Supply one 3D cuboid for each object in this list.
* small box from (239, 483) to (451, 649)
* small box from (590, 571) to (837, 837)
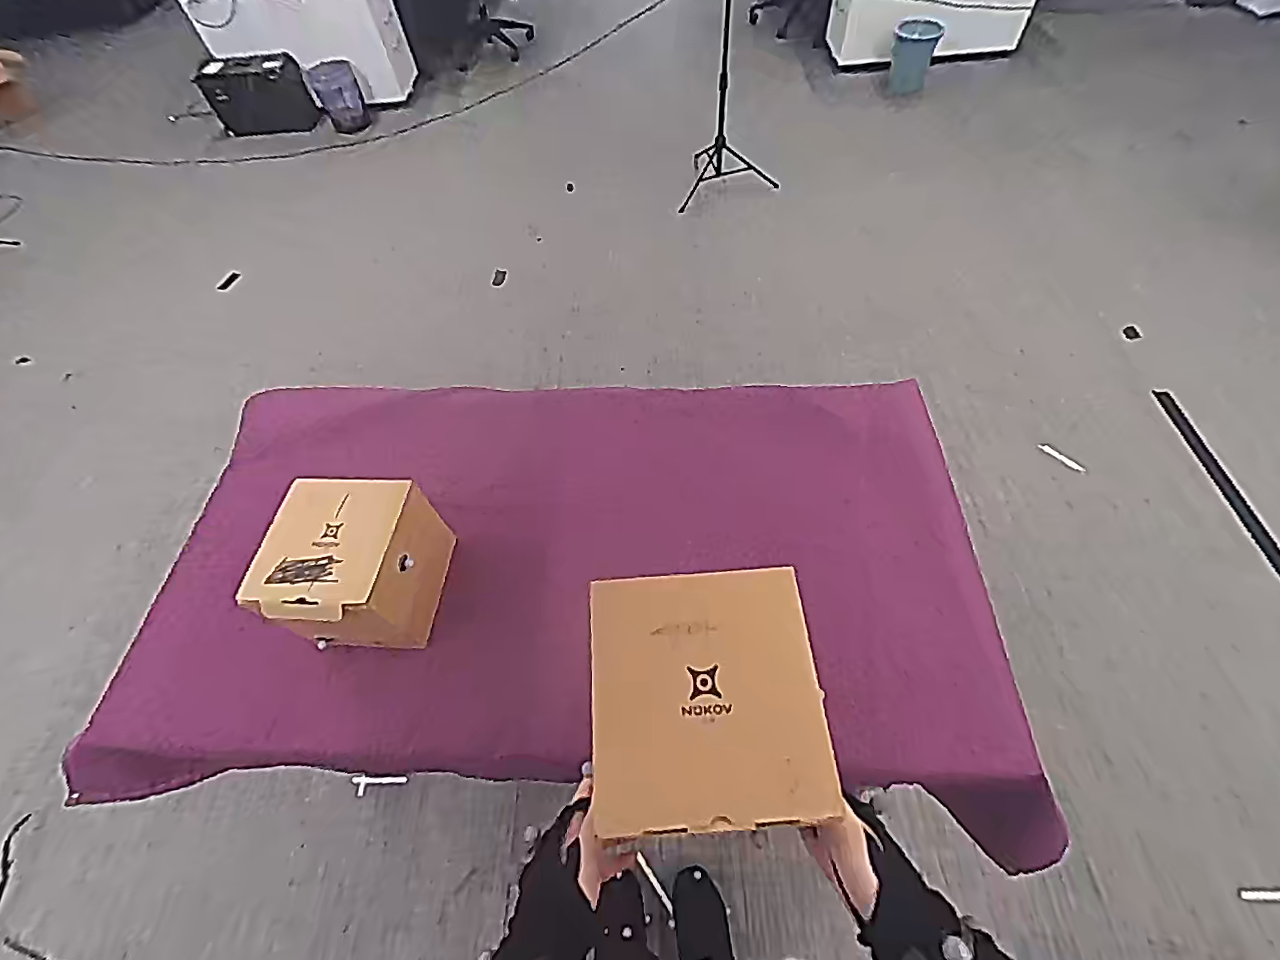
[{"bbox_3d":[-0.379,0.121,0.736,0.168,0.176,0.179,1,56,5],"label":"small box"},{"bbox_3d":[0.048,0.192,0.463,0.168,0.176,0.179,-3,59,-1],"label":"small box"}]
